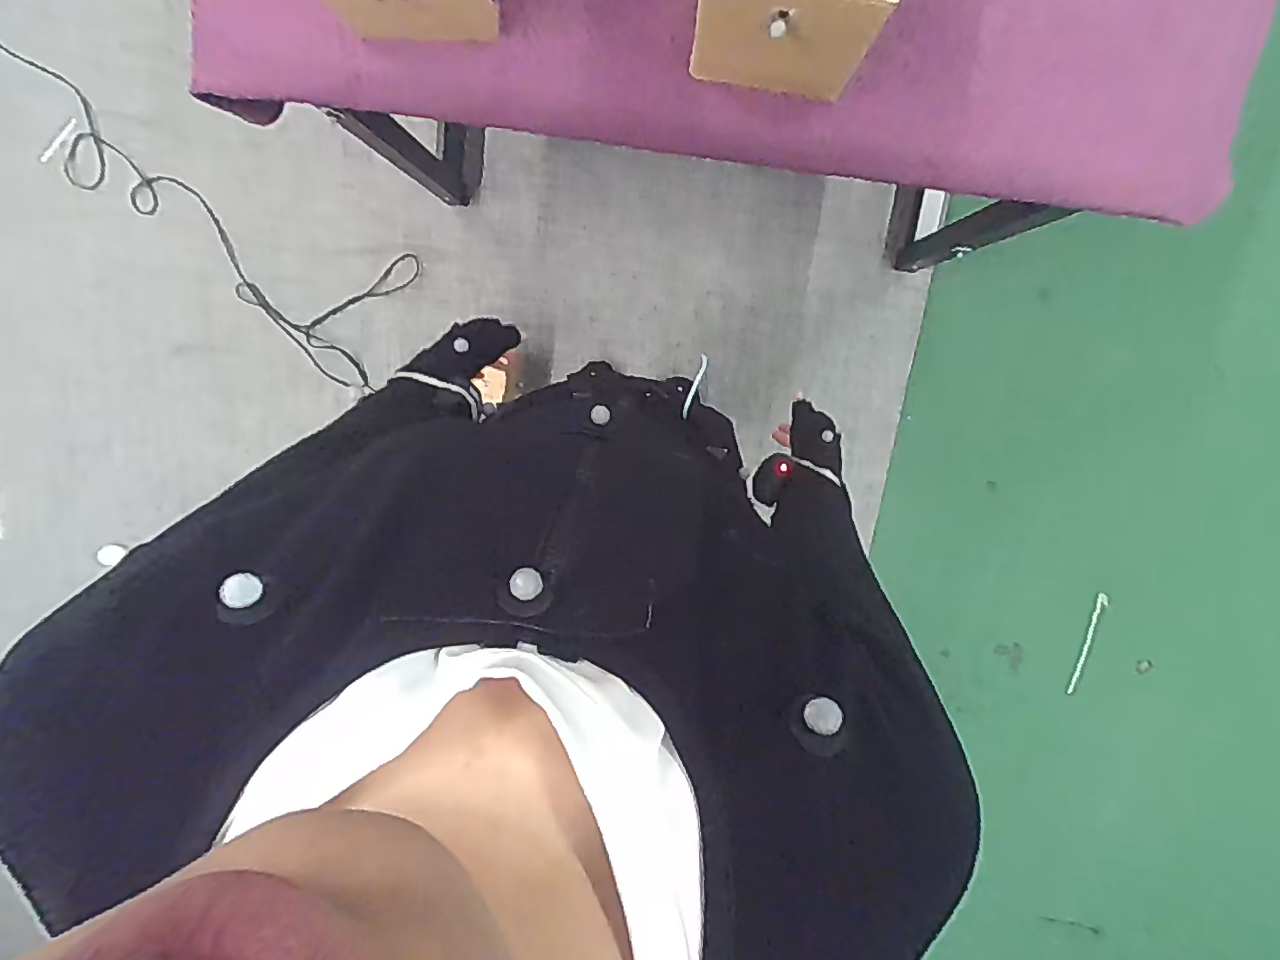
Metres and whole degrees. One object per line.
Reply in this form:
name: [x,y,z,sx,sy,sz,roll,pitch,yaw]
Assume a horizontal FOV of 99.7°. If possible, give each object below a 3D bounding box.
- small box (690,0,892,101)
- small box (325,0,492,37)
small box: [0.154,-0.522,0.549,0.179,0.176,0.168,10,101,0]
small box: [-0.252,-0.584,0.540,0.179,0.176,0.168,2,101,1]
